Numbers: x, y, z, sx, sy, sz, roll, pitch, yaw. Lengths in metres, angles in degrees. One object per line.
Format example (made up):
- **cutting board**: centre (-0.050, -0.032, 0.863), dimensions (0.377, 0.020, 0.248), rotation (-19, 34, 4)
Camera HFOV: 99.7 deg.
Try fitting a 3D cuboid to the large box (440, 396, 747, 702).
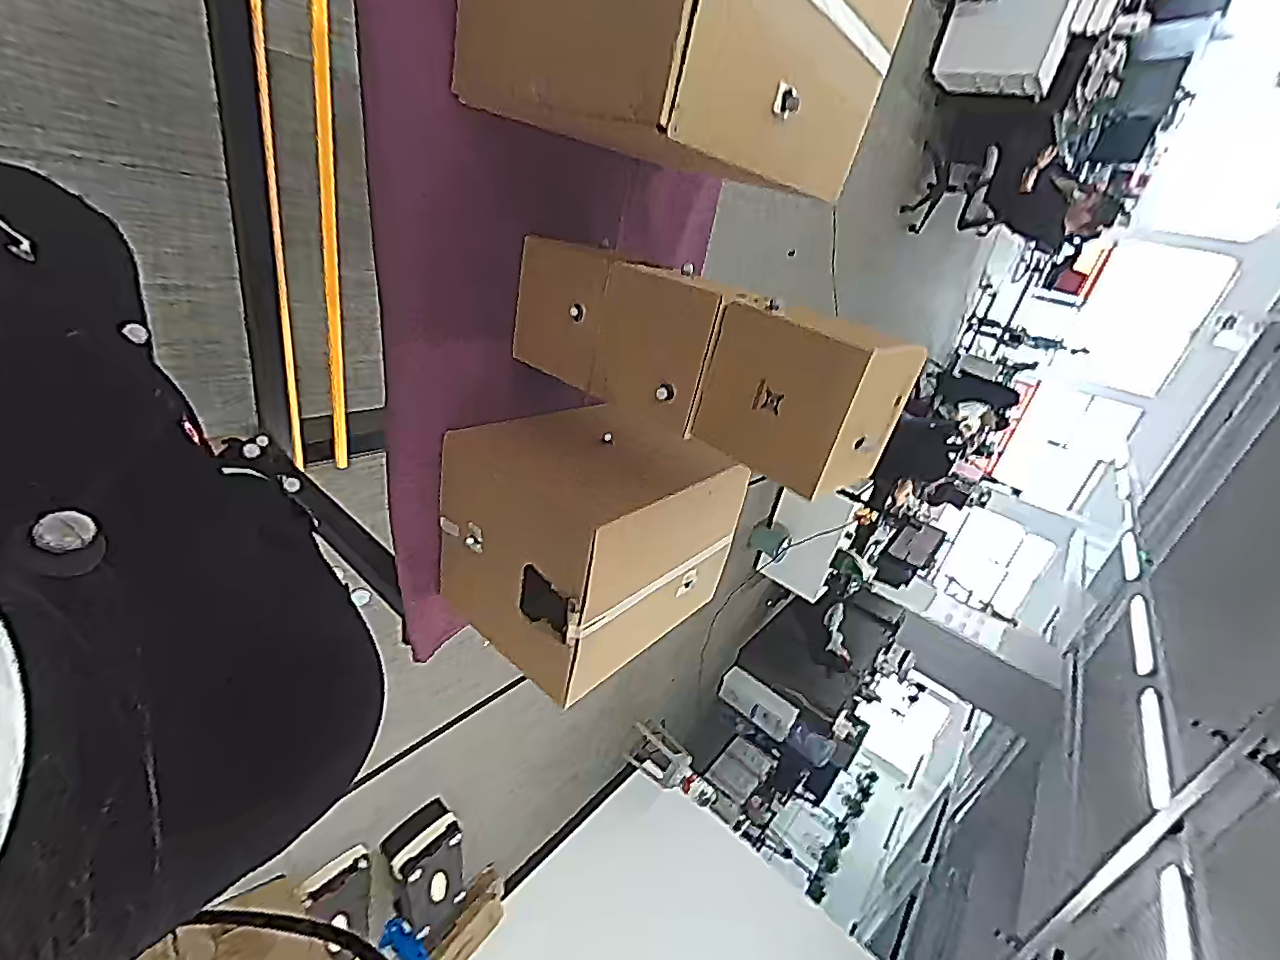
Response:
- **large box**: centre (-0.077, 0.073, 0.915), dimensions (0.408, 0.320, 0.320), rotation (-23, 133, -49)
